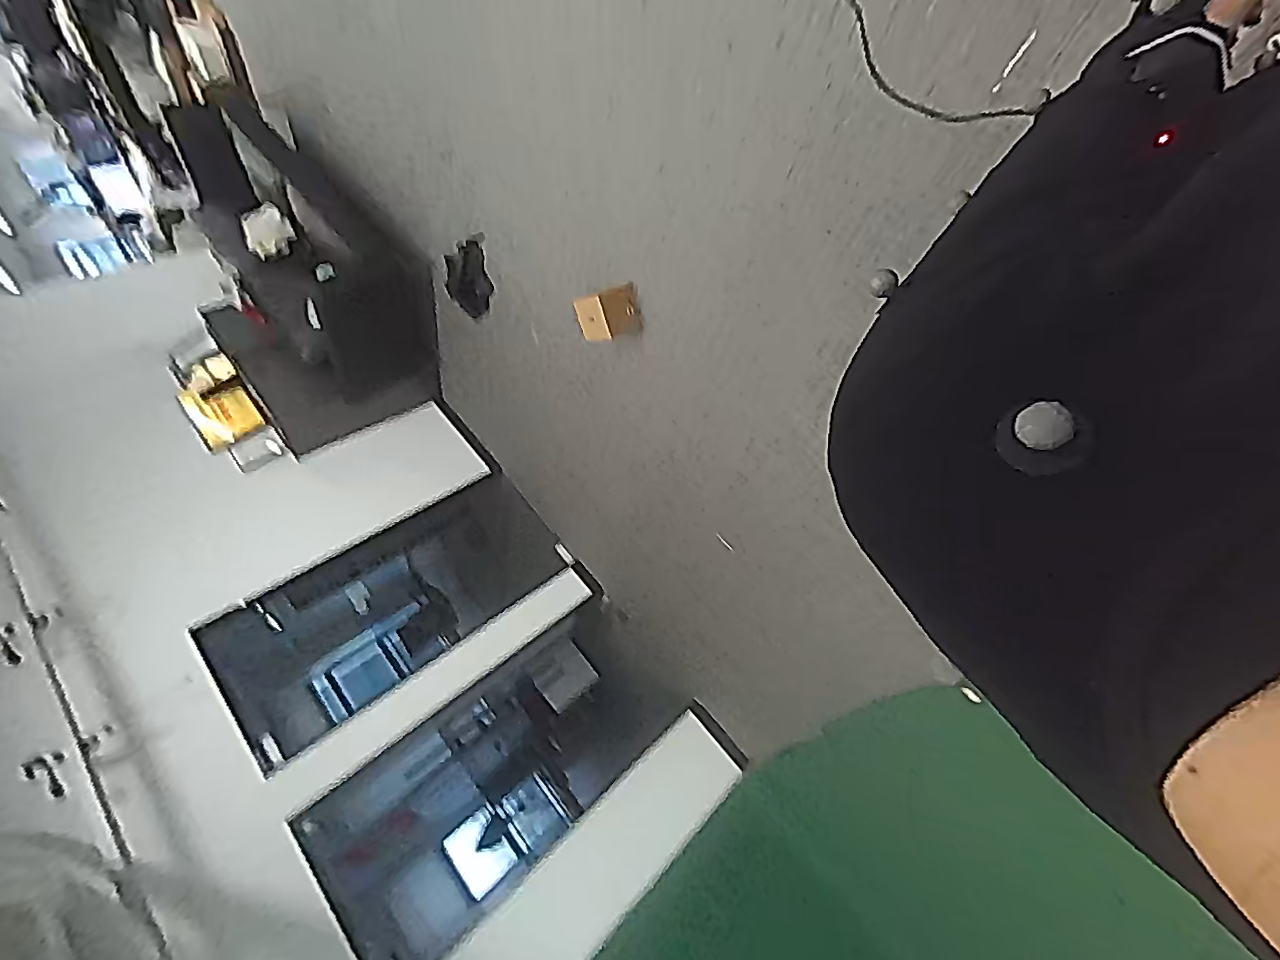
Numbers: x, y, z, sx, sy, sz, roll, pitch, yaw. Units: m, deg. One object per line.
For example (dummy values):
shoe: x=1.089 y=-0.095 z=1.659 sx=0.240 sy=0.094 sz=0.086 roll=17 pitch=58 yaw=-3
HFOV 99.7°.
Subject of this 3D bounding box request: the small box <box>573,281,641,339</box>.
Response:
small box: x=-0.126 y=-0.659 z=2.100 sx=0.179 sy=0.176 sz=0.168 roll=12 pitch=128 yaw=49
